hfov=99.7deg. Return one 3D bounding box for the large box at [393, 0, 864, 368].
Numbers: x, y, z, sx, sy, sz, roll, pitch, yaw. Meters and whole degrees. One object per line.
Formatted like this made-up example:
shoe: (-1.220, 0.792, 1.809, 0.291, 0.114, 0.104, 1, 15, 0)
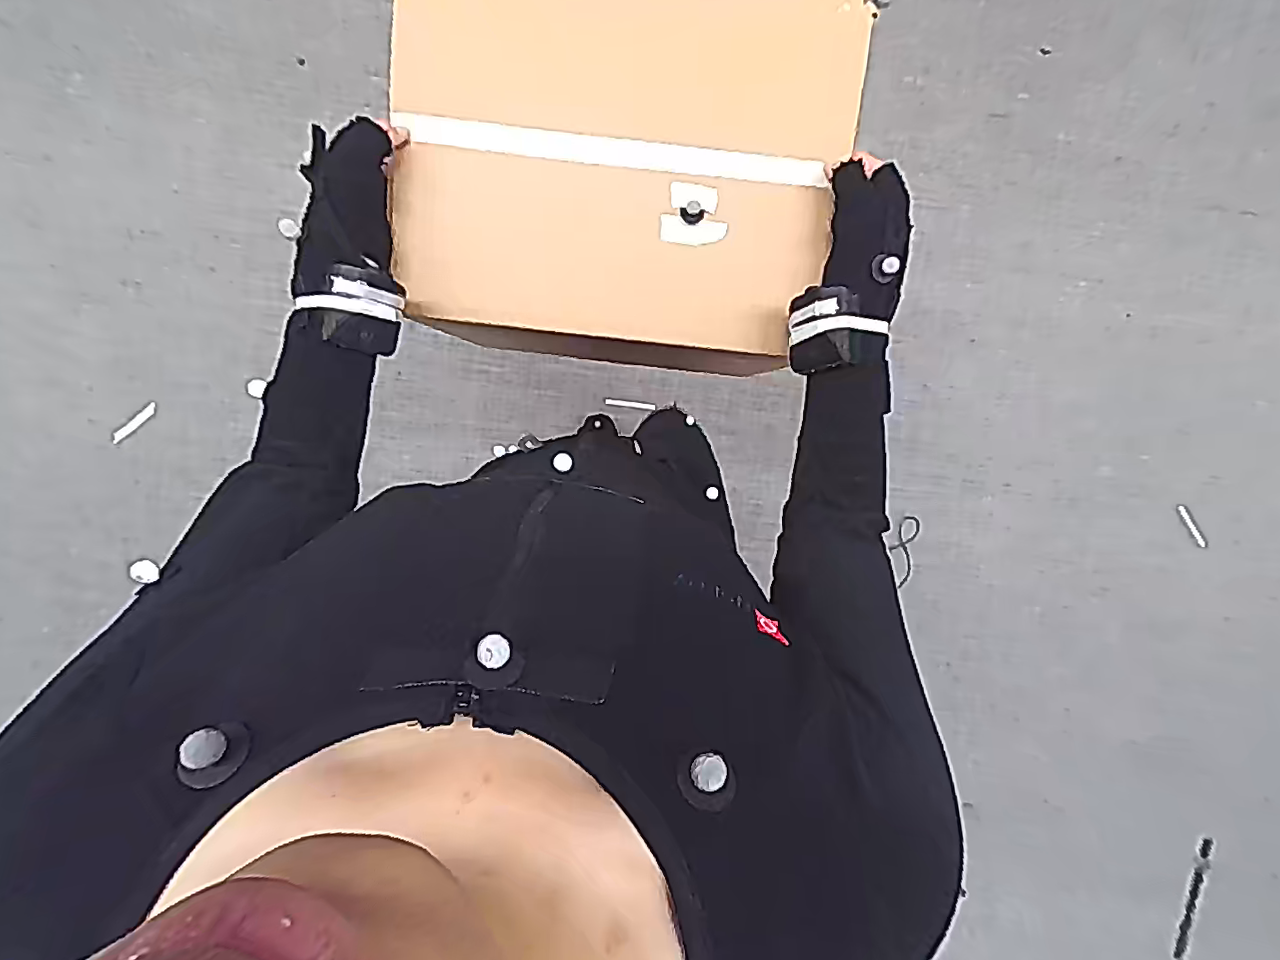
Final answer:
large box: (-0.021, -0.312, 0.627, 0.408, 0.320, 0.320, 6, 98, -2)
